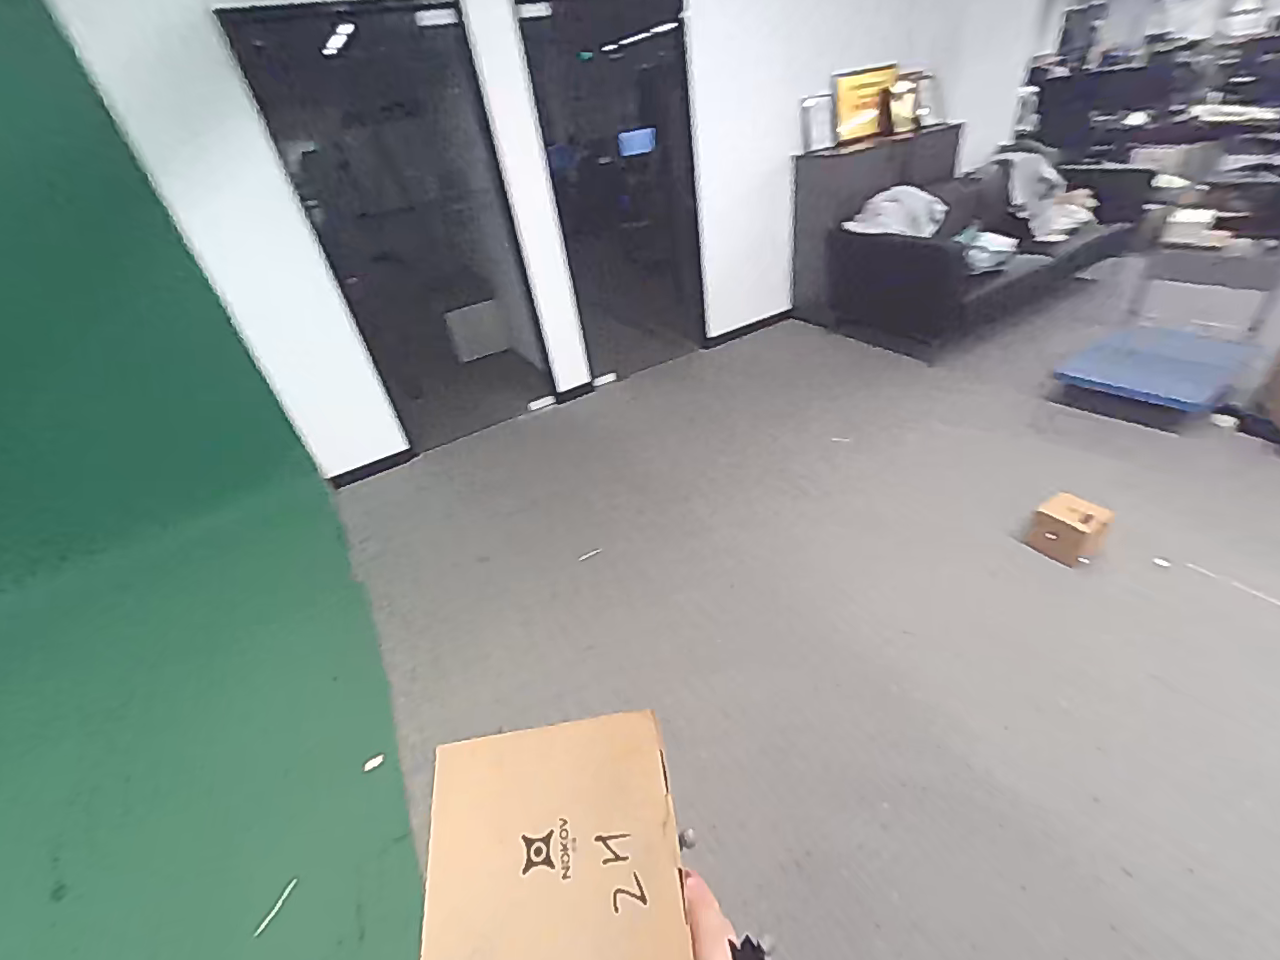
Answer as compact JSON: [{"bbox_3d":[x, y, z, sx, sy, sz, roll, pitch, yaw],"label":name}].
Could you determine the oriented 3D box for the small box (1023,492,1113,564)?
[{"bbox_3d":[1.522,0.178,1.932,0.168,0.176,0.179,-24,36,-19],"label":"small box"}]

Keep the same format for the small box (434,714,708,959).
[{"bbox_3d":[-0.044,0.305,0.435,0.179,0.176,0.168,-8,54,0],"label":"small box"}]
